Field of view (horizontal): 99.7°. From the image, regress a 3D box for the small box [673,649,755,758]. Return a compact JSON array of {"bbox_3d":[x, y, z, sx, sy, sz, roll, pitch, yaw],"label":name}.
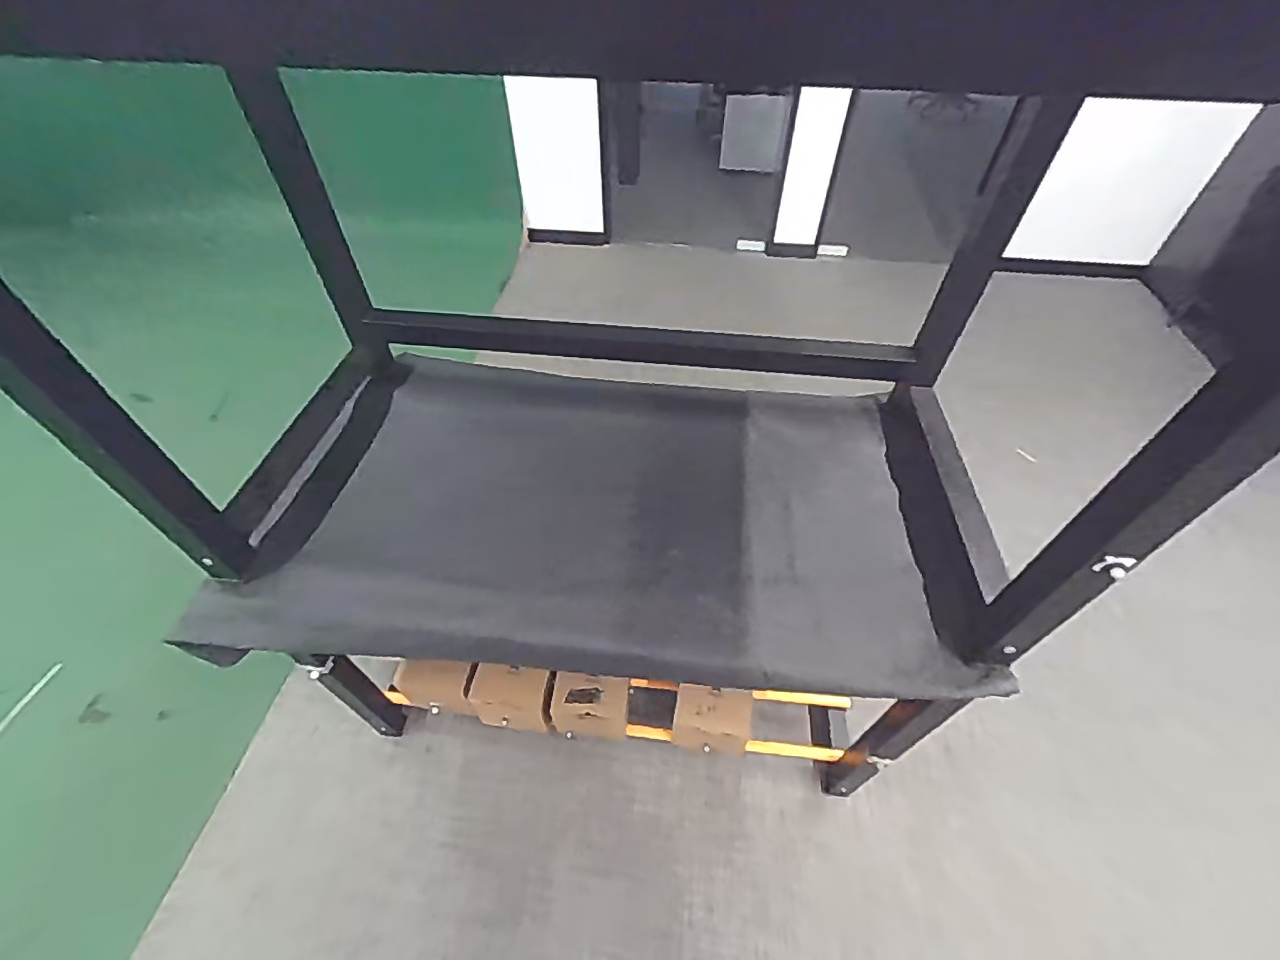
[{"bbox_3d":[0.170,0.526,1.269,0.168,0.176,0.179,8,51,8],"label":"small box"}]
